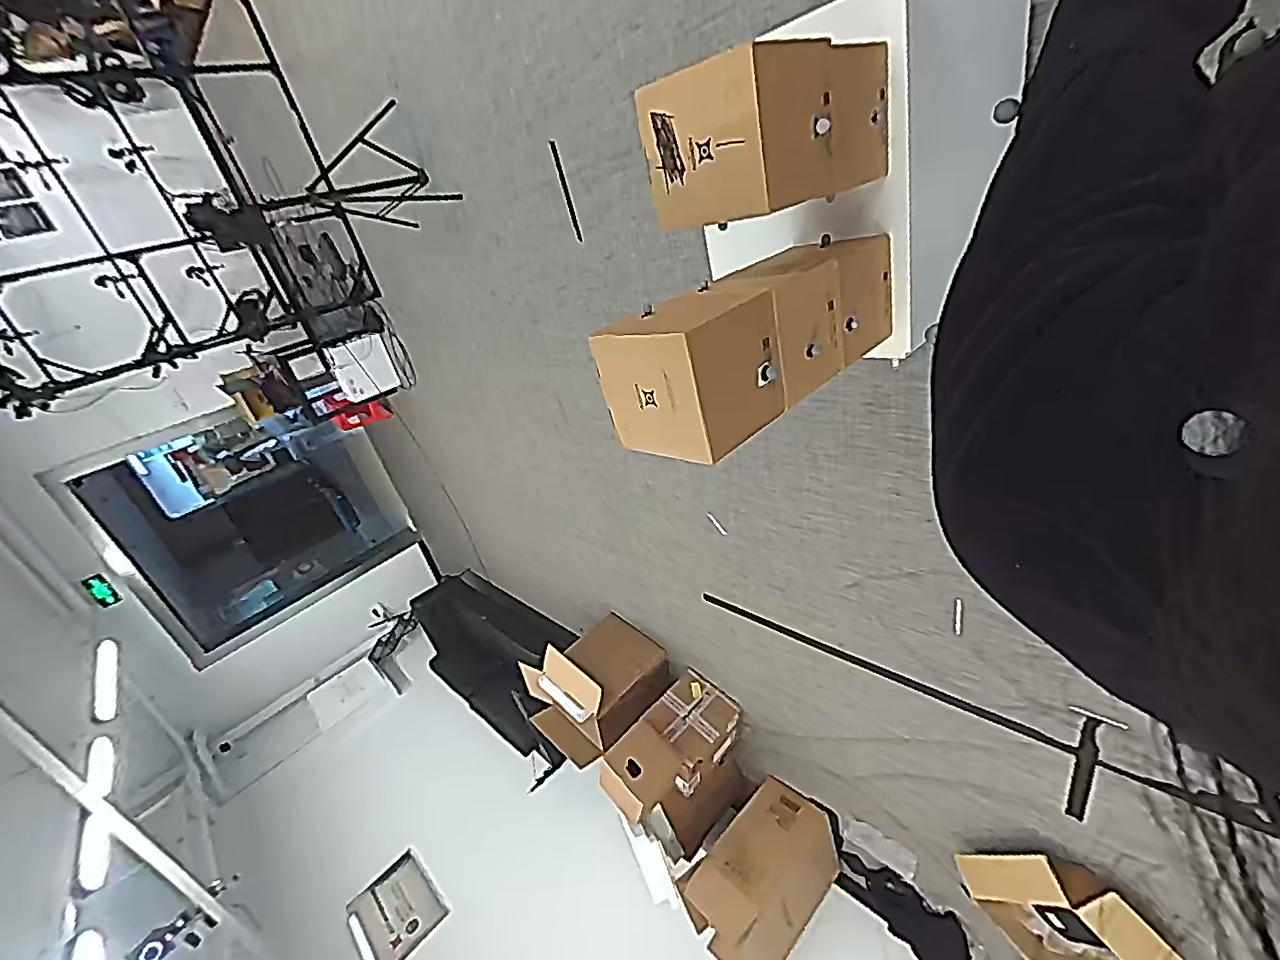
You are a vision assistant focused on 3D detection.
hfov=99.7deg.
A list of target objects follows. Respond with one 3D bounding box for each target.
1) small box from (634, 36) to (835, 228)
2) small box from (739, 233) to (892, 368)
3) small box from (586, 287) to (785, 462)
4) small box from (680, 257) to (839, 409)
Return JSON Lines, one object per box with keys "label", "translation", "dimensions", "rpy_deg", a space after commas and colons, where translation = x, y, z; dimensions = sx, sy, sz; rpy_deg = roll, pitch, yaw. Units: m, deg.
{"label": "small box", "translation": [0.123, -0.430, 0.681], "dimensions": [0.179, 0.176, 0.168], "rpy_deg": [16, 131, 43]}
{"label": "small box", "translation": [0.291, -0.296, 0.890], "dimensions": [0.179, 0.176, 0.168], "rpy_deg": [16, 130, 46]}
{"label": "small box", "translation": [0.063, -0.143, 0.712], "dimensions": [0.179, 0.176, 0.168], "rpy_deg": [13, 129, 46]}
{"label": "small box", "translation": [0.178, -0.219, 0.800], "dimensions": [0.179, 0.176, 0.168], "rpy_deg": [14, 129, 46]}
